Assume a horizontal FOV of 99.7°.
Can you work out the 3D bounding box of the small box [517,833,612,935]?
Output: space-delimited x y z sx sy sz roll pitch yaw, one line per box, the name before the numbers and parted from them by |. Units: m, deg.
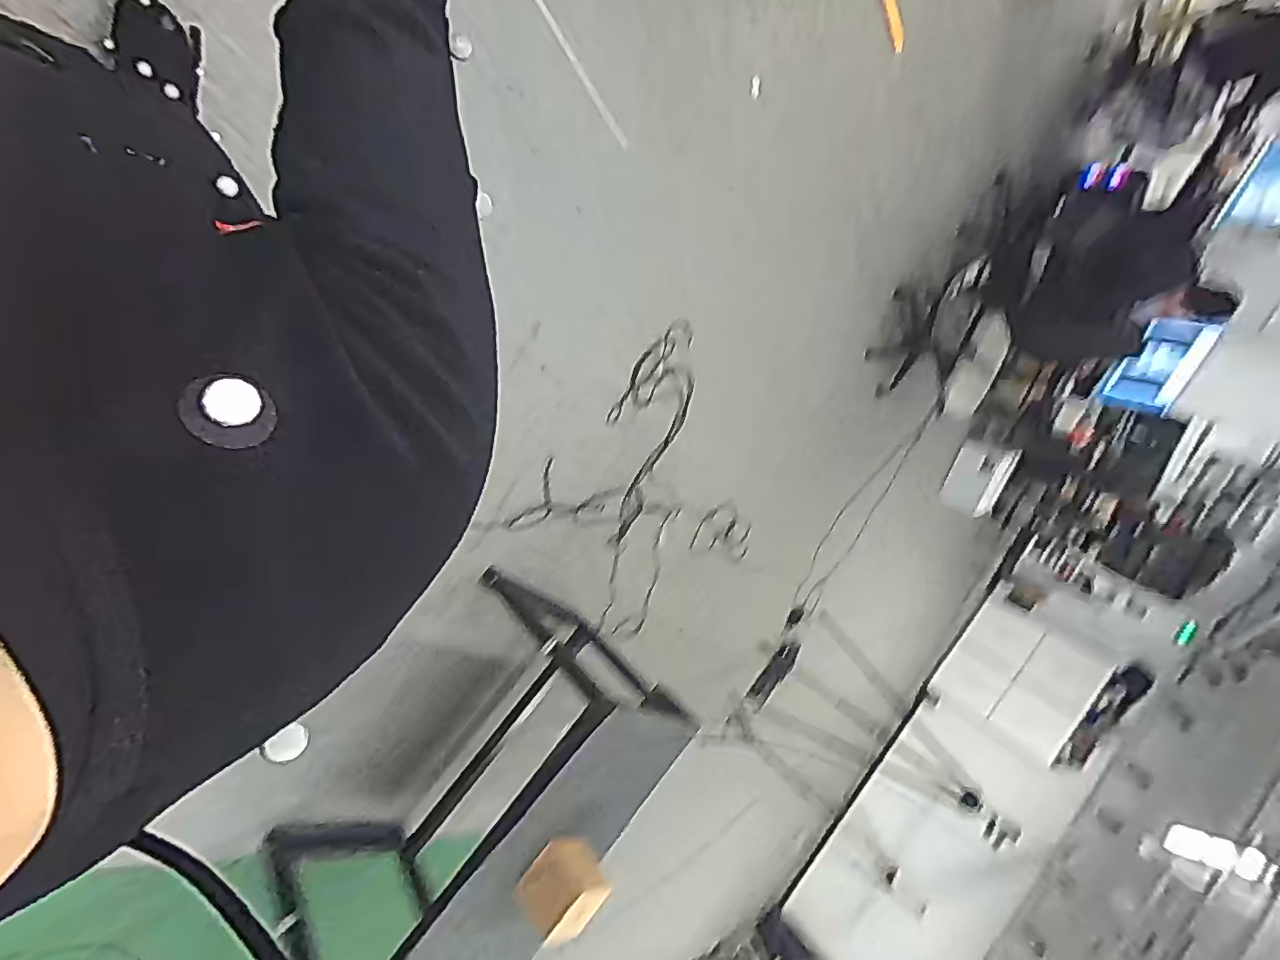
small box | -0.220 1.157 1.566 0.168 0.176 0.179 -51 139 -6
